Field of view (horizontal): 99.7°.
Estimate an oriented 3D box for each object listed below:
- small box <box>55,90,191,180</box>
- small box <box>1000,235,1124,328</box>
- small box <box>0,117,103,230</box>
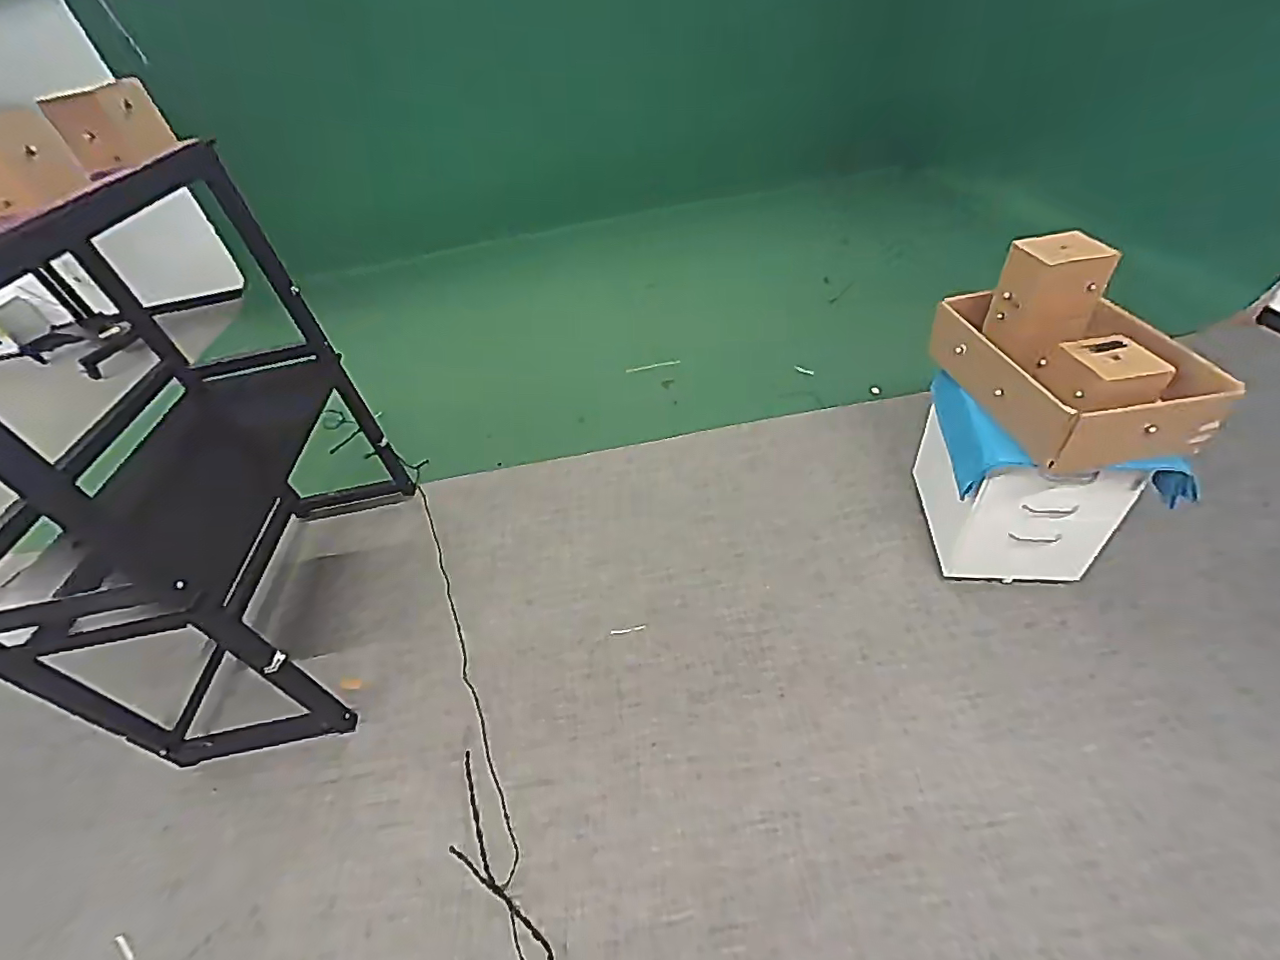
[{"bbox_3d":[-1.393,-0.936,1.476,0.168,0.176,0.179,-7,44,4],"label":"small box"},{"bbox_3d":[1.108,-0.525,1.438,0.179,0.176,0.168,-9,43,2],"label":"small box"},{"bbox_3d":[-1.361,-0.673,1.190,0.168,0.176,0.179,-12,43,2],"label":"small box"}]
